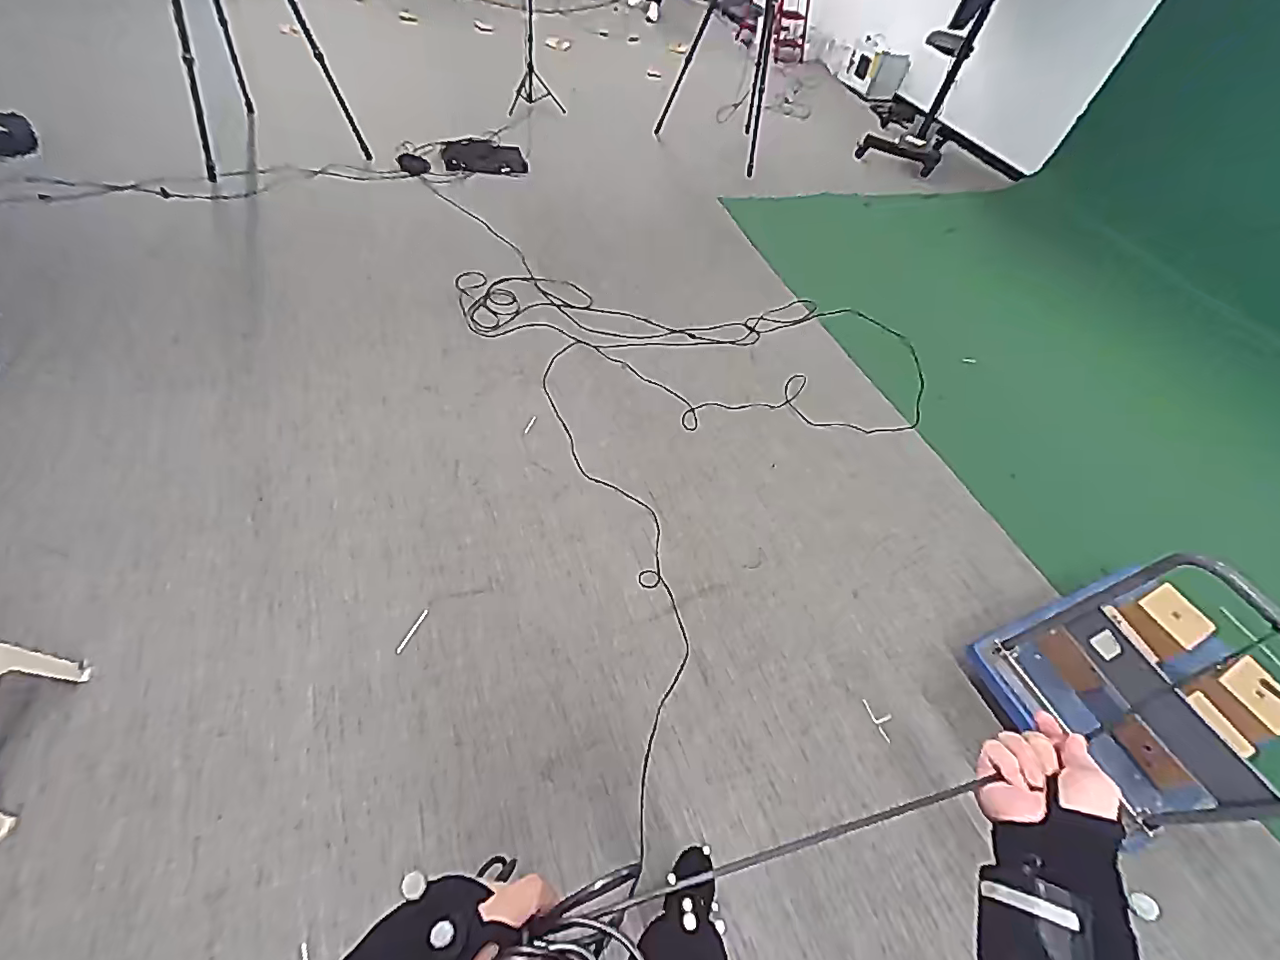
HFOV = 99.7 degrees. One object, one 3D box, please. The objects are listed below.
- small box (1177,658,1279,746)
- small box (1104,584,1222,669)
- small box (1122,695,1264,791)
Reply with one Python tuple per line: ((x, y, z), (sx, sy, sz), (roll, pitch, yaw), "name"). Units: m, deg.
((1.707, 0.640, 1.536), (0.179, 0.176, 0.168), (-18, 57, -21), "small box")
((1.592, 0.454, 1.660), (0.179, 0.176, 0.168), (-18, 58, -22), "small box")
((1.461, 0.703, 1.443), (0.179, 0.176, 0.168), (-14, 56, -19), "small box")
